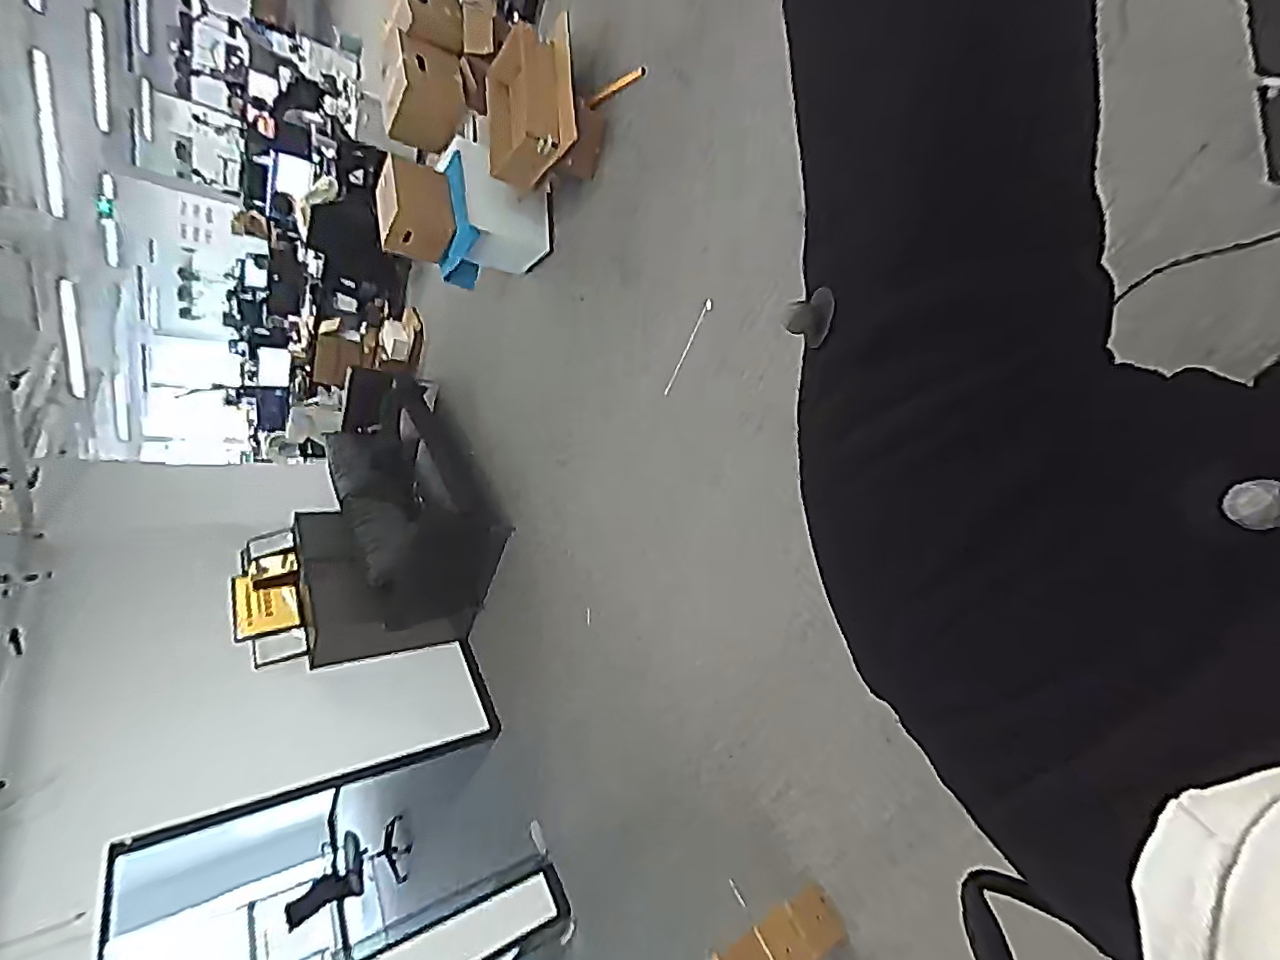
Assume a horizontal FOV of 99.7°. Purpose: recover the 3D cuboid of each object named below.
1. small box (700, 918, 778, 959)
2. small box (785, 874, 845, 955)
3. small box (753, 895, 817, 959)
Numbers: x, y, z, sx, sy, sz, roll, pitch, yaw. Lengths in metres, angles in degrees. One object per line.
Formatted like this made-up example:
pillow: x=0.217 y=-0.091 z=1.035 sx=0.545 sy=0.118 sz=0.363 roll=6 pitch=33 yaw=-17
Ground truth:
small box: x=0.315 y=1.510 z=1.662 sx=0.179 sy=0.176 sz=0.168 roll=51 pitch=127 yaw=37
small box: x=0.573 y=1.507 z=1.862 sx=0.168 sy=0.176 sz=0.179 roll=54 pitch=129 yaw=37
small box: x=0.445 y=1.505 z=1.762 sx=0.168 sy=0.176 sz=0.179 roll=51 pitch=128 yaw=38
